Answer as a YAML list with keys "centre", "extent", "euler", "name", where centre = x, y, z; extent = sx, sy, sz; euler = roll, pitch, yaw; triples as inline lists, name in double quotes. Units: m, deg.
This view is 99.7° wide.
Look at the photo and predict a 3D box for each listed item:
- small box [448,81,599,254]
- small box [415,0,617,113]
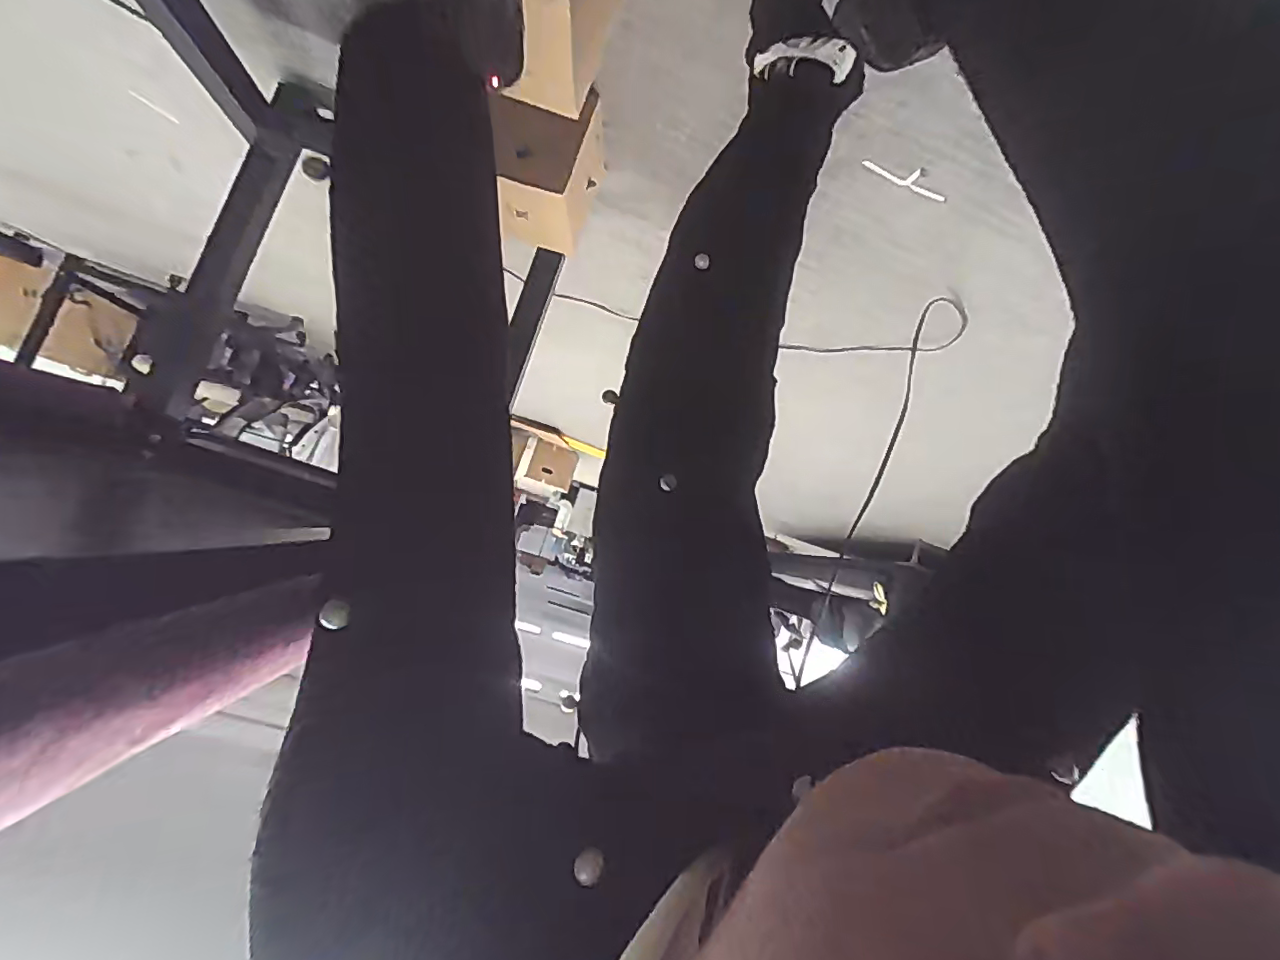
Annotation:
- centre: [-0.166, -0.490, 0.837]
  extent: [0.179, 0.176, 0.168]
  euler: [18, 172, 0]
  name: "small box"
- centre: [-0.115, -0.519, 0.524]
  extent: [0.168, 0.176, 0.179]
  euler: [19, 173, -2]
  name: "small box"
